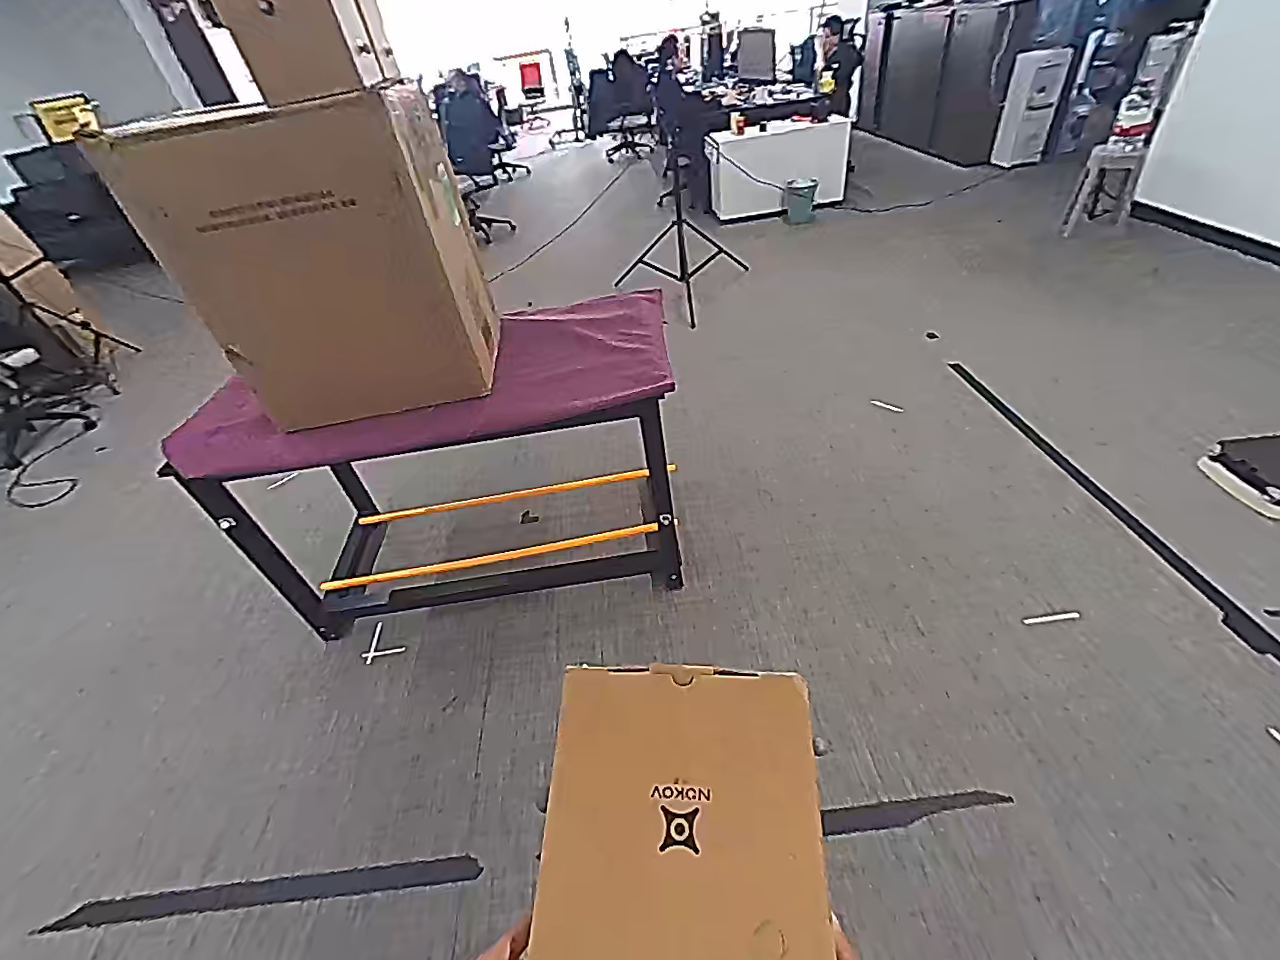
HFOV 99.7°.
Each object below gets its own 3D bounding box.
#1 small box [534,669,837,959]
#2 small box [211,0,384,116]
[{"bbox_3d":[0.034,0.248,0.389,0.168,0.176,0.179,-1,55,6],"label":"small box"},{"bbox_3d":[-0.583,-0.756,0.945,0.179,0.176,0.168,-13,41,-2],"label":"small box"}]
